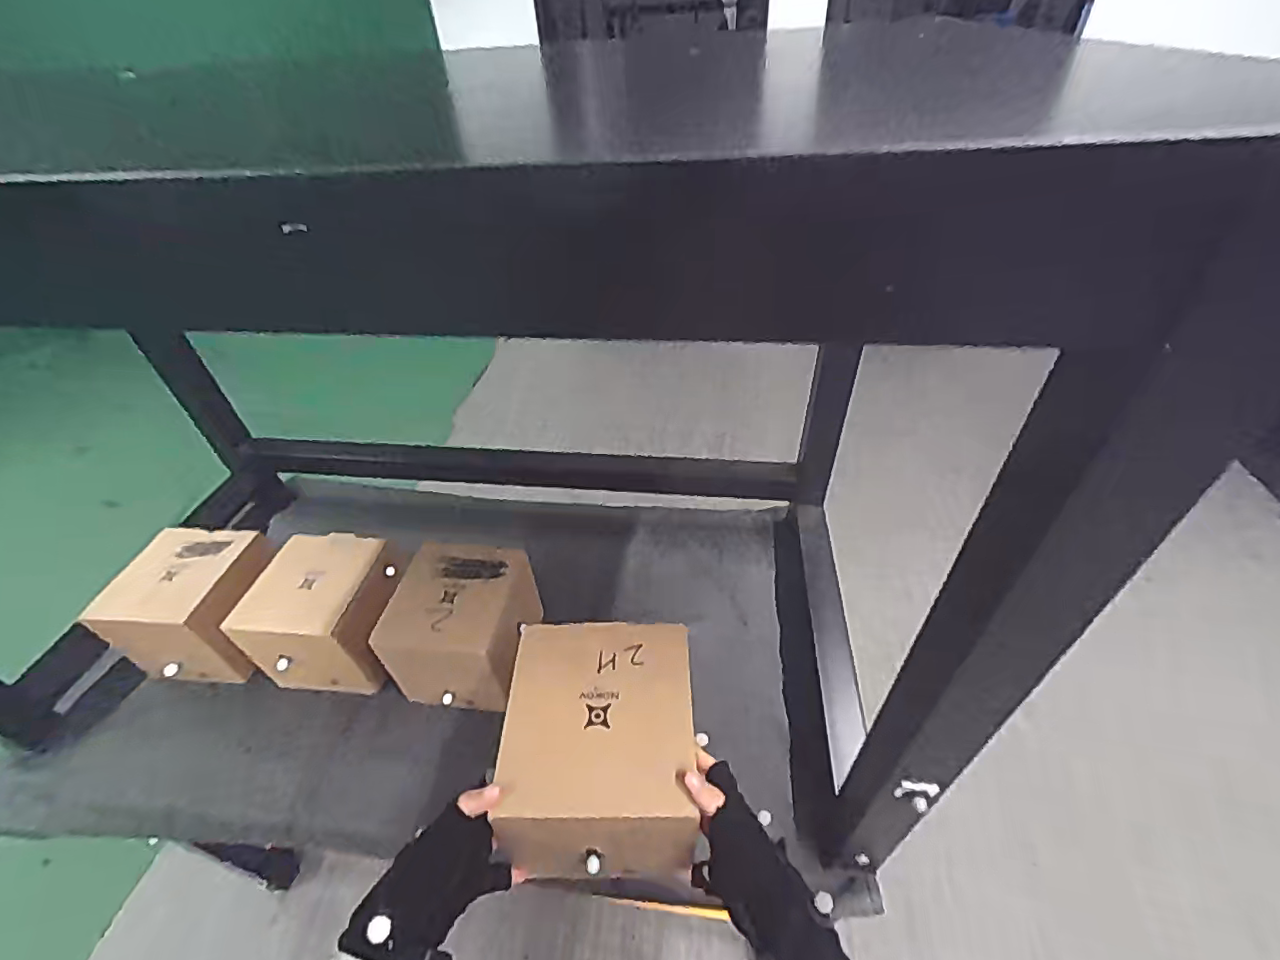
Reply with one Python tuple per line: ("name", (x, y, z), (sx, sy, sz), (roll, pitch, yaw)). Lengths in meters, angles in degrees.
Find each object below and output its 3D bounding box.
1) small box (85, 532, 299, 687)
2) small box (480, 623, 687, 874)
("small box", (-0.690, 0.205, 0.866), (0.168, 0.176, 0.179), (1, 42, 6))
("small box", (-0.039, 0.261, 0.528), (0.168, 0.176, 0.179), (0, 39, 1))
